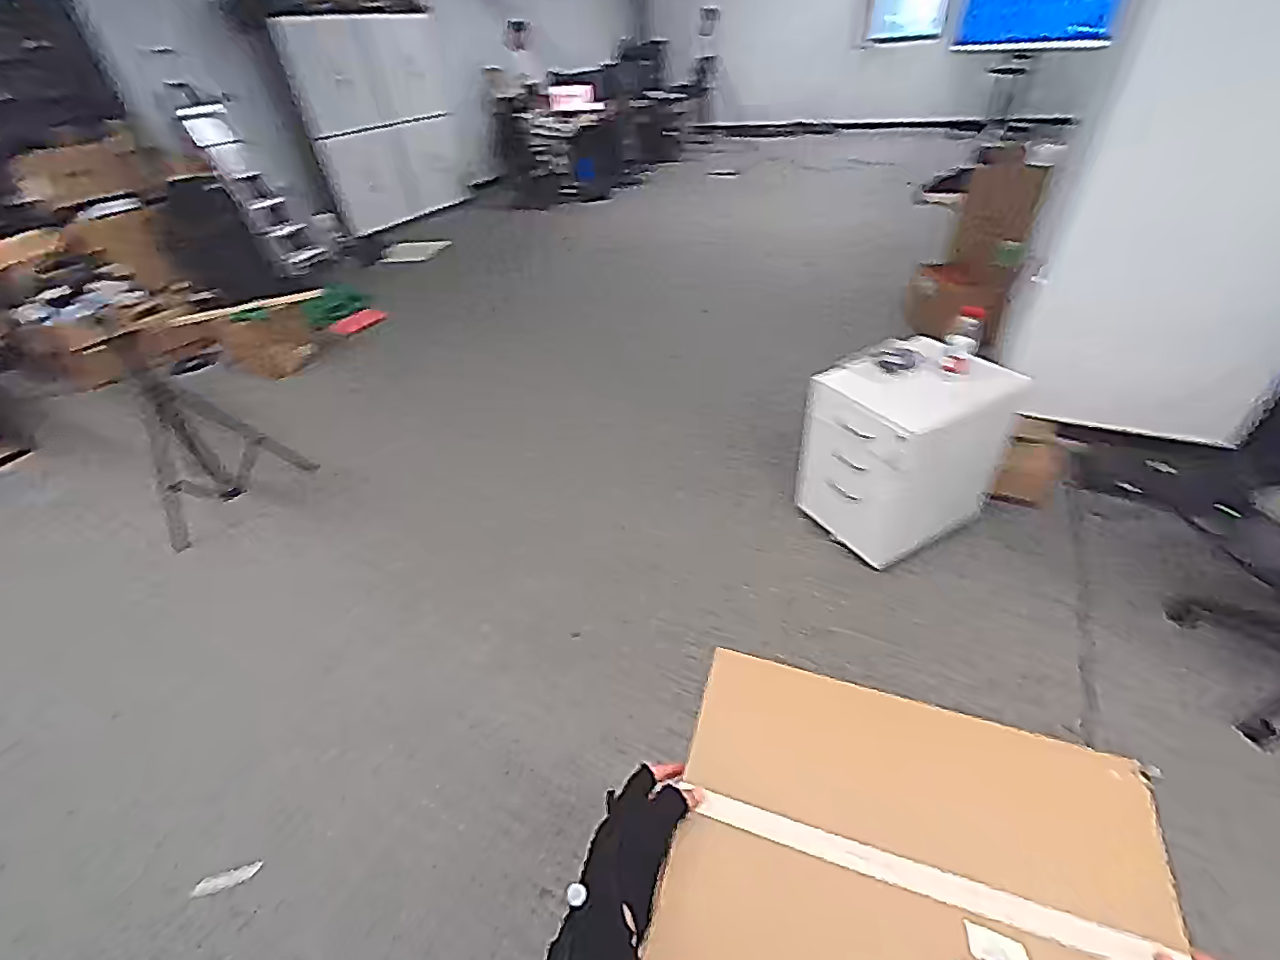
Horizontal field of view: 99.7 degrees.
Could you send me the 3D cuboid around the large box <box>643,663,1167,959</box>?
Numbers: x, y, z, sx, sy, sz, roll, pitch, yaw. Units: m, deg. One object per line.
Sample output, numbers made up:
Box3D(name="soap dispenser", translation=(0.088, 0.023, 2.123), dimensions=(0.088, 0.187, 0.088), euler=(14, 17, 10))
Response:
Box3D(name="large box", translation=(0.236, 0.451, 0.582), dimensions=(0.408, 0.320, 0.320), euler=(11, 49, 16))
